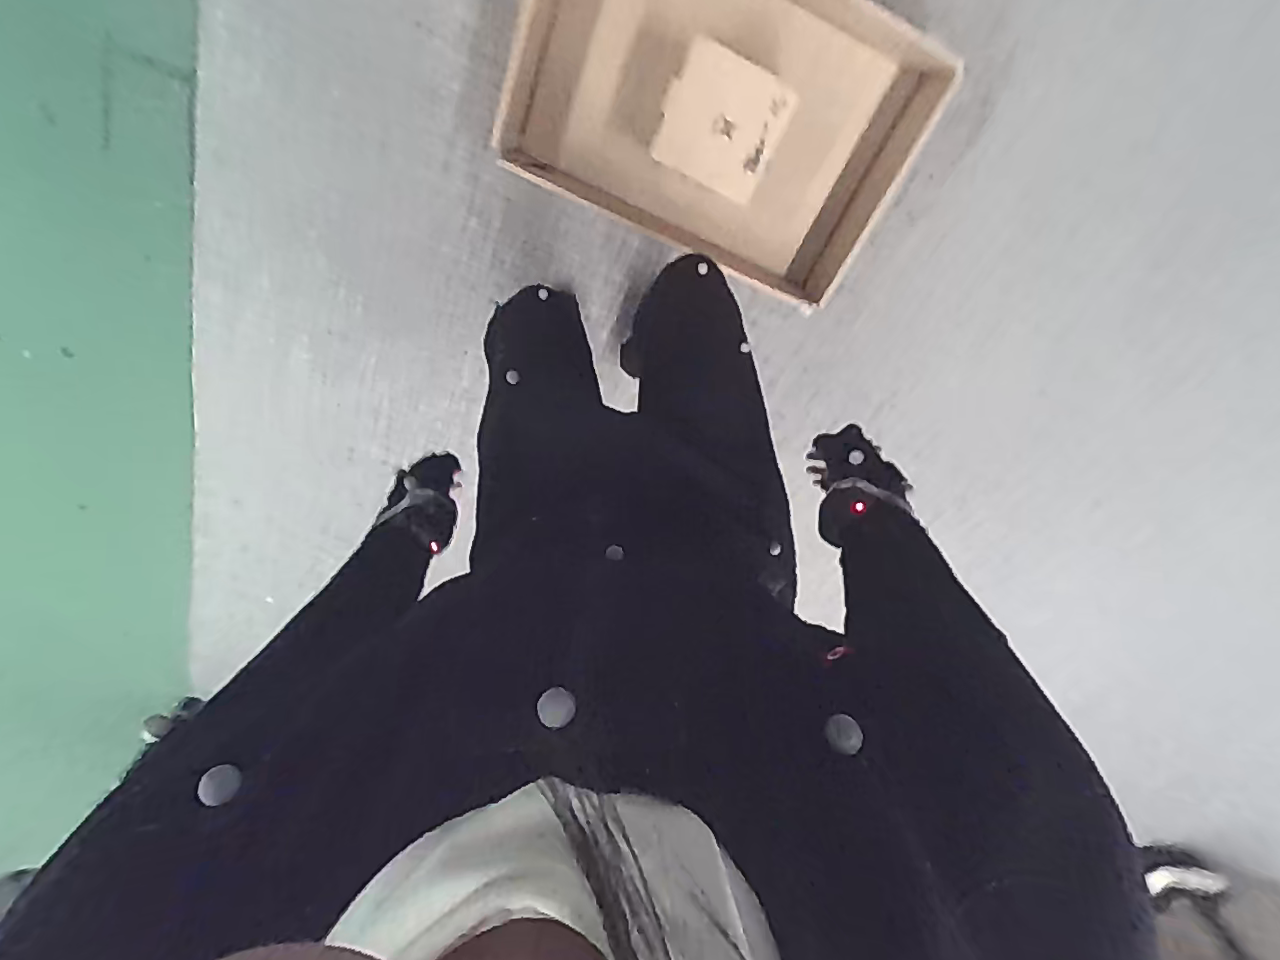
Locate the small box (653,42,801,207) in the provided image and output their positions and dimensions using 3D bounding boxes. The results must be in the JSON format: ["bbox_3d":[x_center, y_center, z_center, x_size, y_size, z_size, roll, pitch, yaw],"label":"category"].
[{"bbox_3d":[0.131,-0.572,0.890,0.179,0.176,0.168,20,119,-10],"label":"small box"}]
